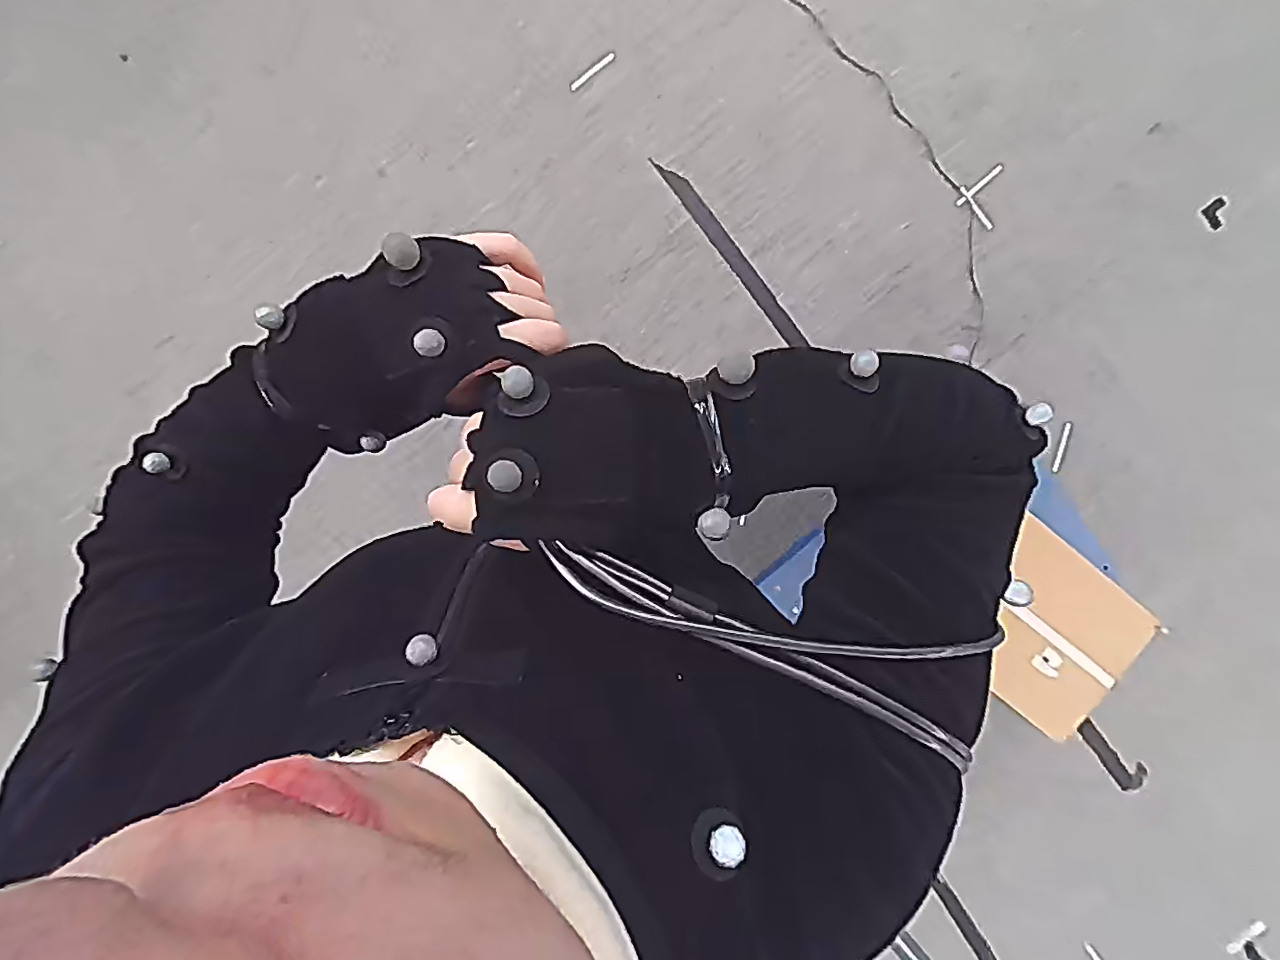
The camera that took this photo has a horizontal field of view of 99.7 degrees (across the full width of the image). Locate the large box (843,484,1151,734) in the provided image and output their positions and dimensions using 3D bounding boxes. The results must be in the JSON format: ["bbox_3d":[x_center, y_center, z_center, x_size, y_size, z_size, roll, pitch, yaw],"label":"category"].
[{"bbox_3d":[0.745,0.253,1.193,0.408,0.320,0.320,39,93,-5],"label":"large box"}]
